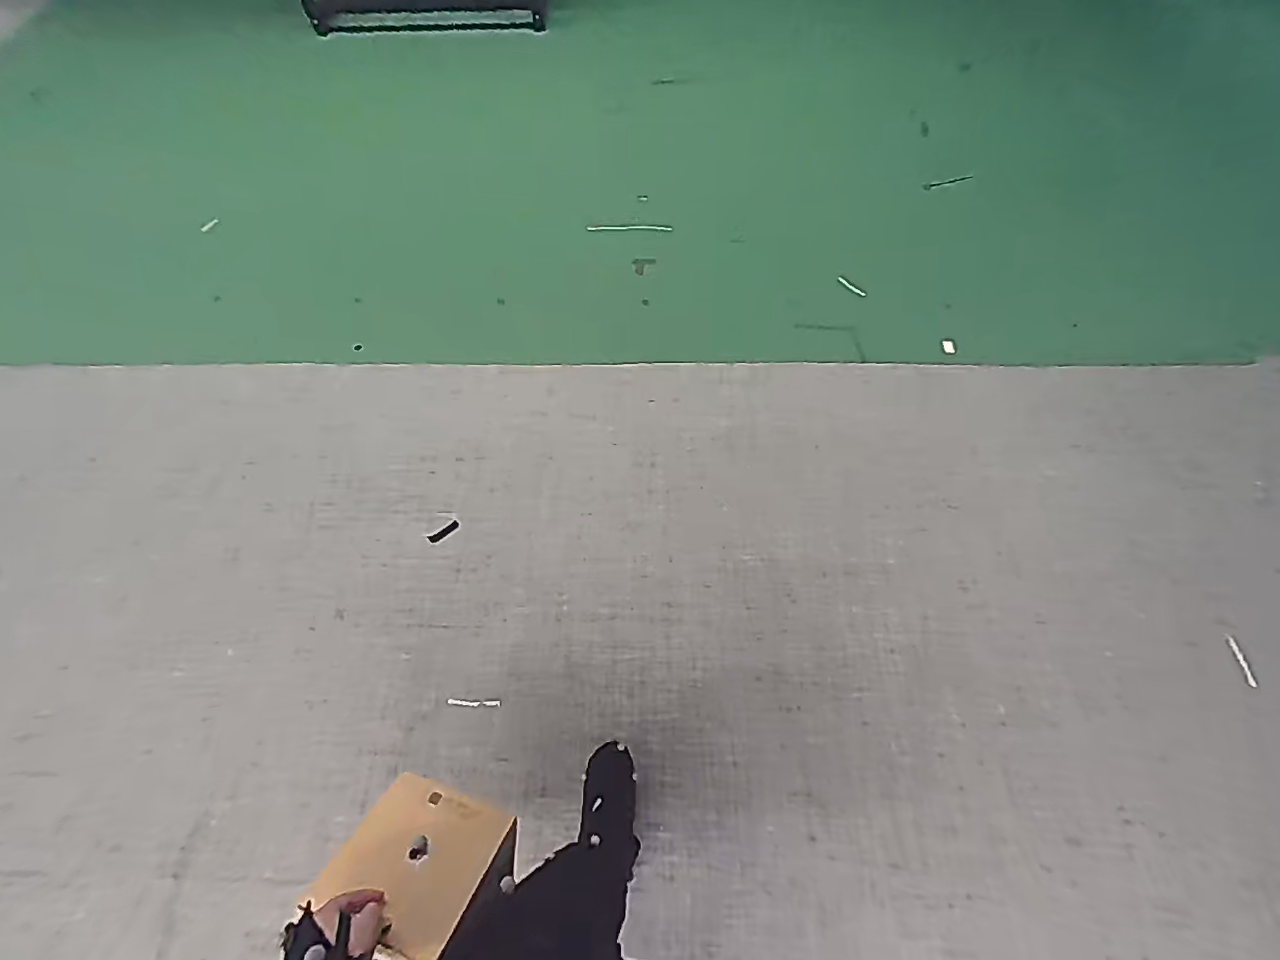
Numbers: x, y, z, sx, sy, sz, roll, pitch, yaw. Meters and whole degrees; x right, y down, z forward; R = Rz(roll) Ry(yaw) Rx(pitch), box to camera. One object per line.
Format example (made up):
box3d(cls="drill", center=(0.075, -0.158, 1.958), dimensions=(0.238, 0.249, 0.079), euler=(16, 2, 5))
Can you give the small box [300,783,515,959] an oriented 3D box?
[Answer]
box3d(cls="small box", center=(-0.261, 0.506, 0.644), dimensions=(0.168, 0.179, 0.176), euler=(13, 23, 12))
